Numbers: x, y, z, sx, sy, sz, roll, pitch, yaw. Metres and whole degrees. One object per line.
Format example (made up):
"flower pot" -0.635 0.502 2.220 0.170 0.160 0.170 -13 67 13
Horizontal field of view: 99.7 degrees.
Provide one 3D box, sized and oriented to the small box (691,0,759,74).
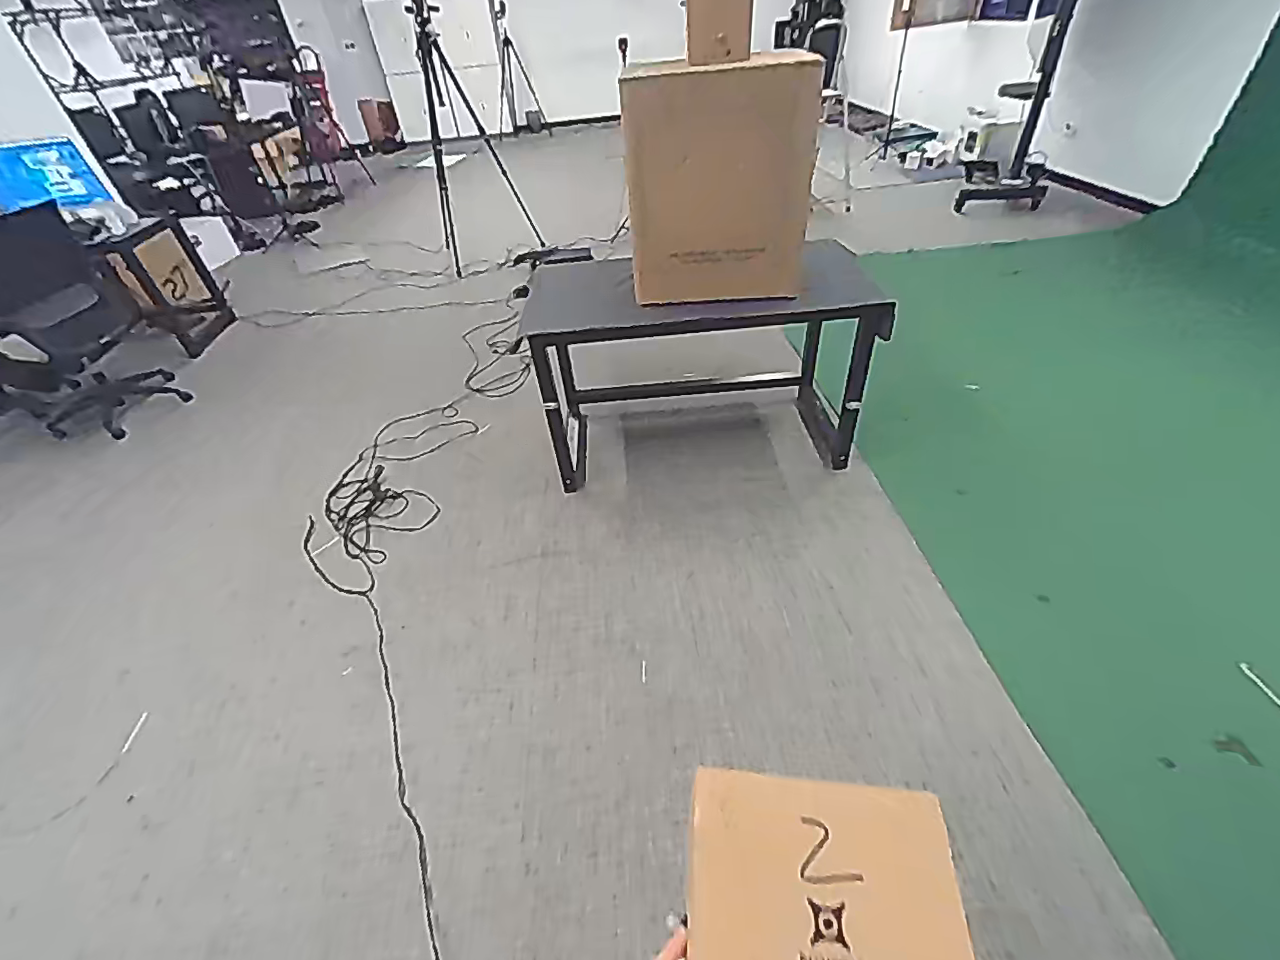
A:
"small box" 0.222 -1.207 1.452 0.168 0.176 0.179 -2 43 4
